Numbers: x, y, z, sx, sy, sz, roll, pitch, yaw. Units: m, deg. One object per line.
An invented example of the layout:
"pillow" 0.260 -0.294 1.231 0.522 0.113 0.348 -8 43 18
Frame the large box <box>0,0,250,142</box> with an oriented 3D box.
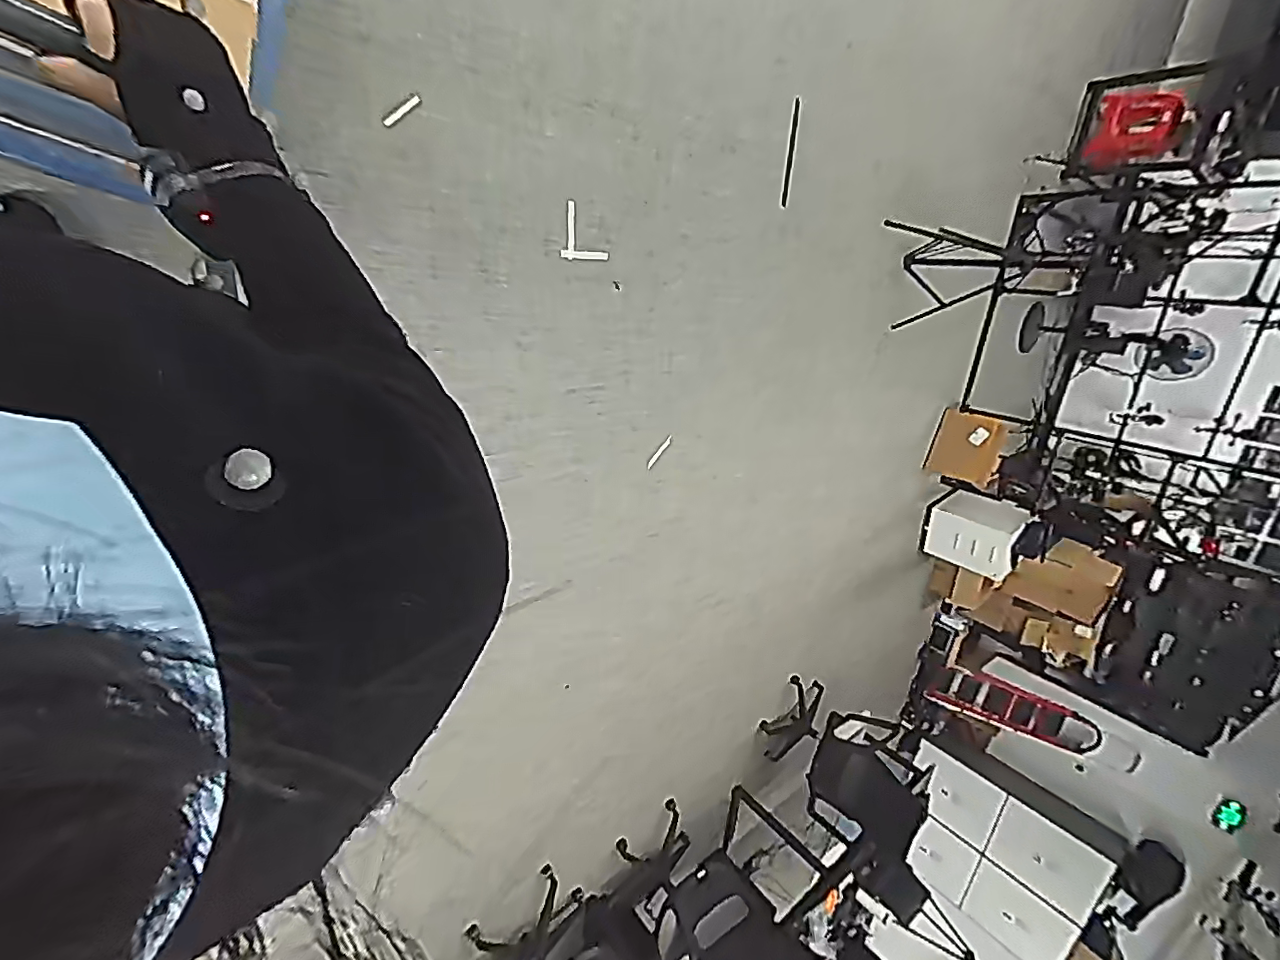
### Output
"large box" -0.761 -0.692 0.683 0.408 0.320 0.320 1 108 -44
